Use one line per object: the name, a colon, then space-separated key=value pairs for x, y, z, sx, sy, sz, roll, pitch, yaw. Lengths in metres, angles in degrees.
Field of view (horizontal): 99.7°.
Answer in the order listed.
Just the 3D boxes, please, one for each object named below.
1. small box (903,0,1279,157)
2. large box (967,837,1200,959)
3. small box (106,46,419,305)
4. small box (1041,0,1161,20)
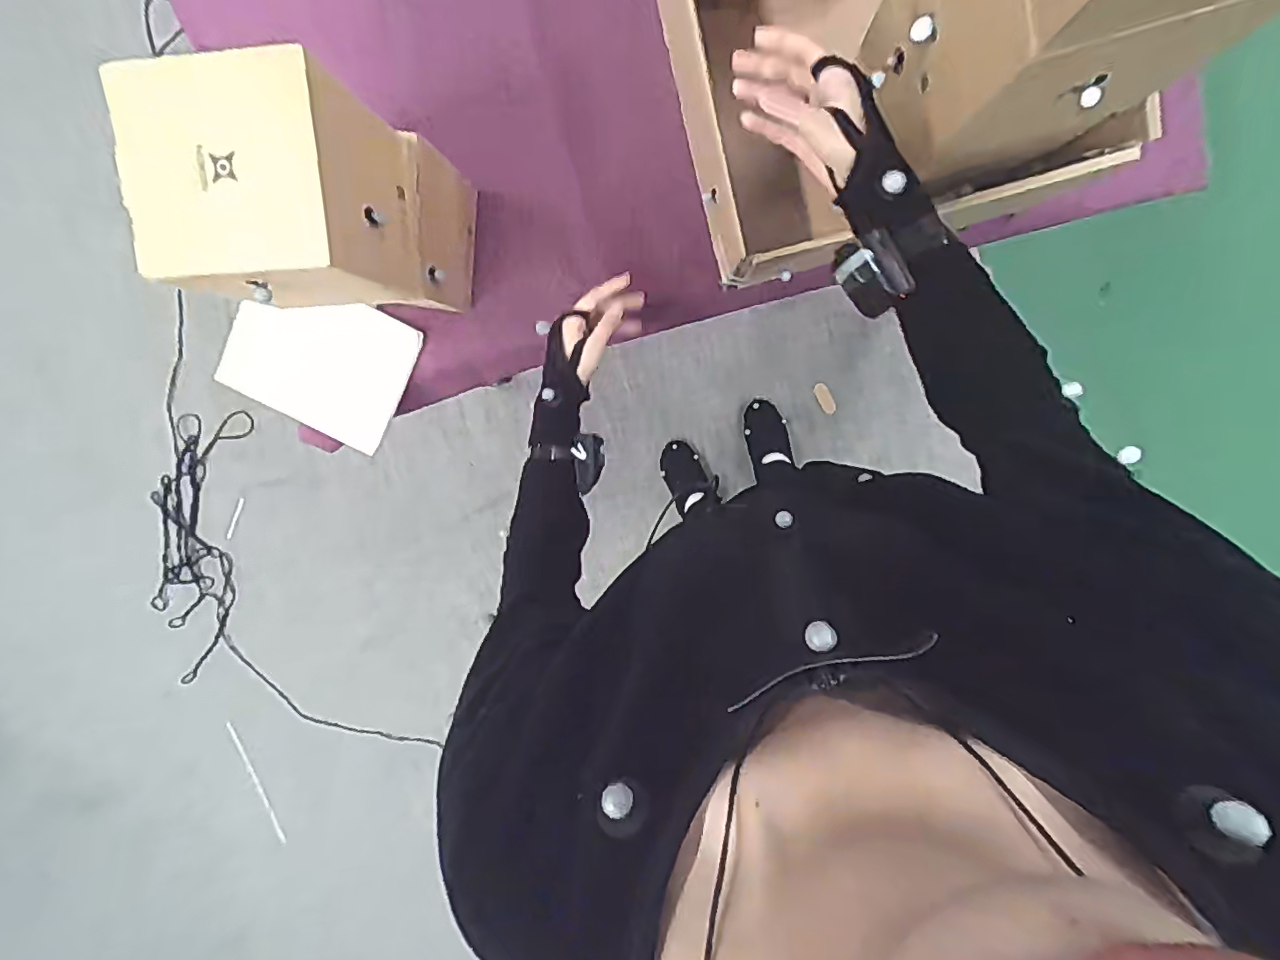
small box: x=0.317 y=-0.372 z=0.391 sx=0.179 sy=0.176 sz=0.168 roll=-12 pitch=98 yaw=9
large box: x=1.218 y=1.287 z=1.474 sx=0.408 sy=0.320 sz=0.320 roll=-30 pitch=96 yaw=7
small box: x=-0.330 y=-0.267 z=0.516 sx=0.179 sy=0.176 sz=0.168 roll=-2 pitch=99 yaw=6
small box: x=0.296 y=-0.350 z=0.231 sx=0.168 sy=0.176 sz=0.179 roll=-11 pitch=98 yaw=8
